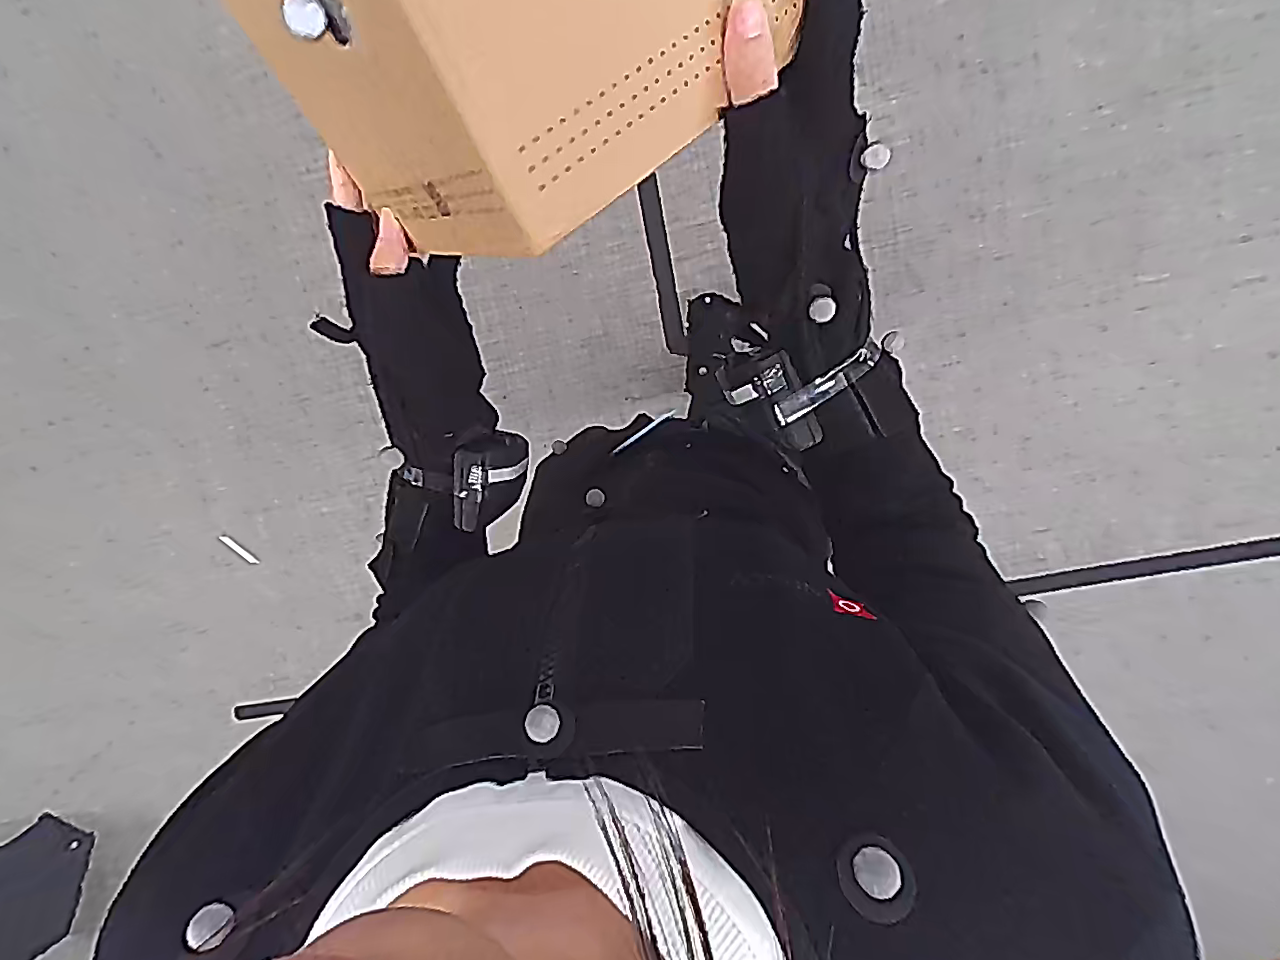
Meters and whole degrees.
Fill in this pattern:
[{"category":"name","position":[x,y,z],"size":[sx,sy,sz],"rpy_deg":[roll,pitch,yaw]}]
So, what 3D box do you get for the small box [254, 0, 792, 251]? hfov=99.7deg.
[{"category":"small box","position":[-0.056,-0.224,0.243],"size":[0.179,0.168,0.176],"rpy_deg":[-44,132,-14]}]
